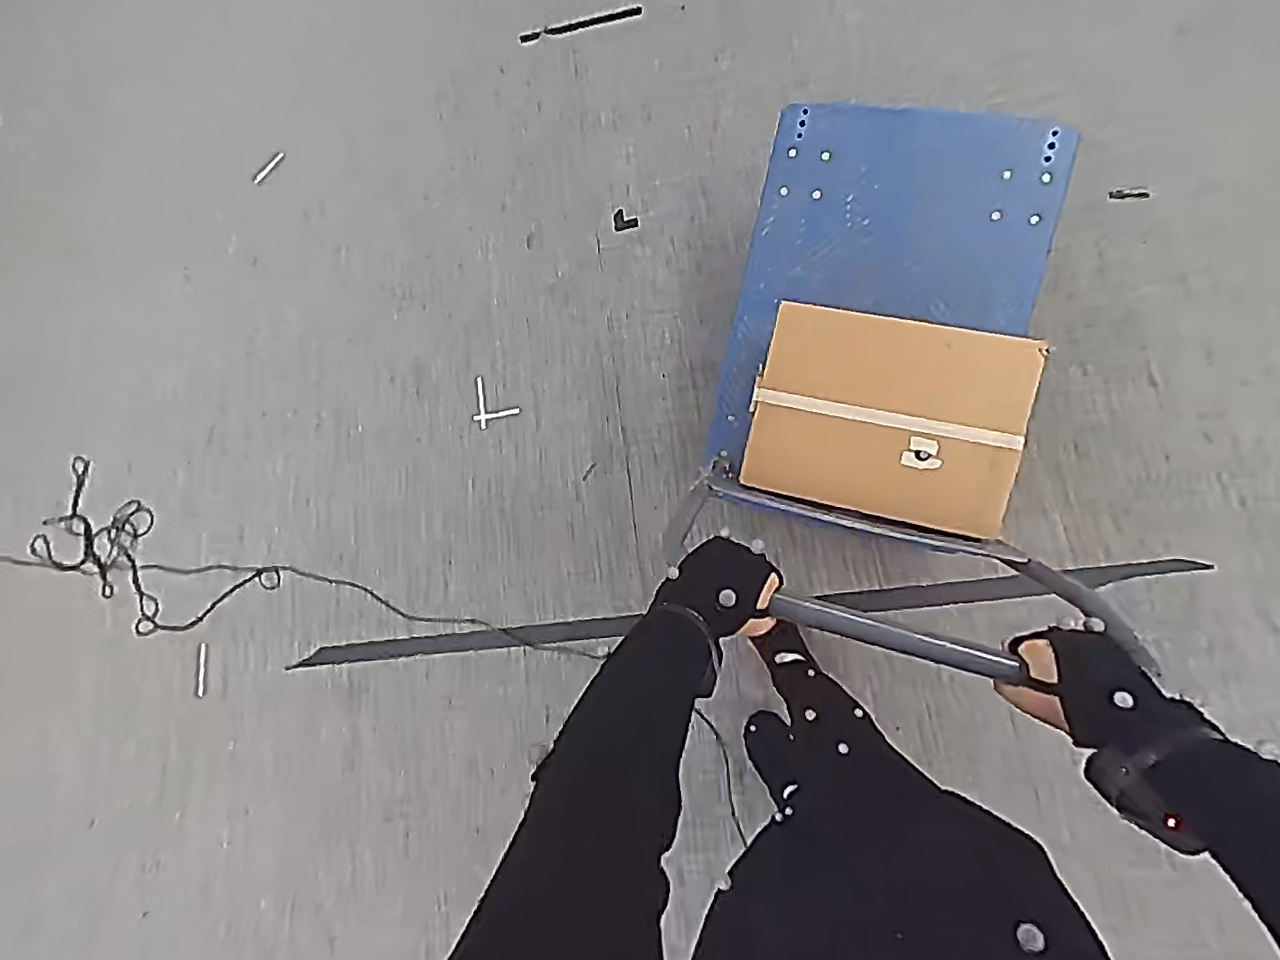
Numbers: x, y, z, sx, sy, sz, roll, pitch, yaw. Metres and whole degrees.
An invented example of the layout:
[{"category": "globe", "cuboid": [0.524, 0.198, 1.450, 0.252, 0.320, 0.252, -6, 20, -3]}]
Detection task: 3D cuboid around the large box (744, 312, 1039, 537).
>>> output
[{"category": "large box", "cuboid": [0.426, -0.102, 1.028, 0.408, 0.320, 0.320, 13, 96, 11]}]
